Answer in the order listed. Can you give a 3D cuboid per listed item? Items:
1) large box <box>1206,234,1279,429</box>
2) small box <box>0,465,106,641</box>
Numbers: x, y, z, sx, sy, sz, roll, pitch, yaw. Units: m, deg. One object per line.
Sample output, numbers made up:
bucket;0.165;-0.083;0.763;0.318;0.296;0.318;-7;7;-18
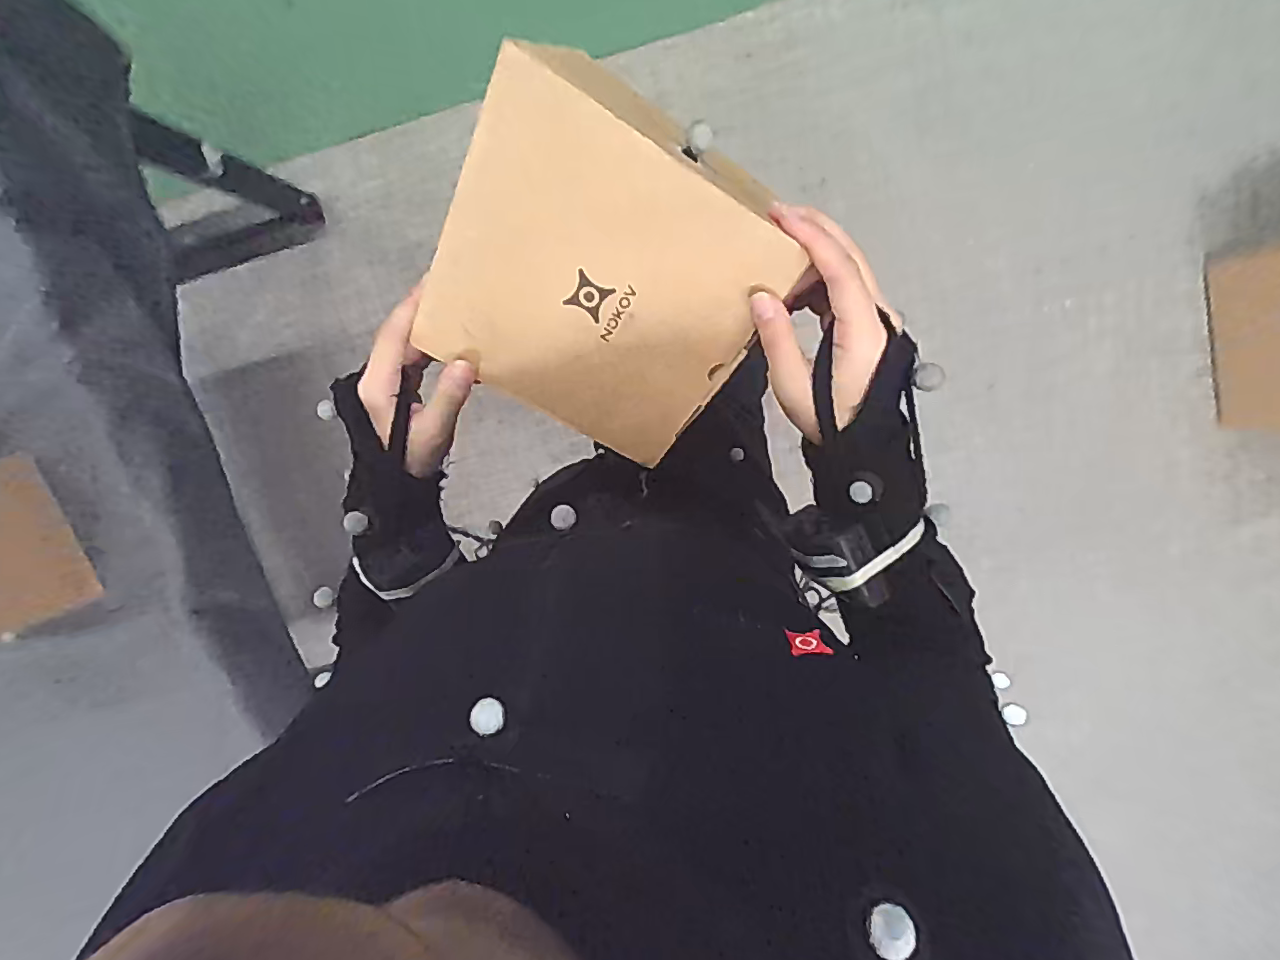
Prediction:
large box;1.485;-0.334;1.109;0.320;0.320;0.408;-19;103;5
small box;-0.730;0.092;0.553;0.168;0.176;0.179;-16;103;6
